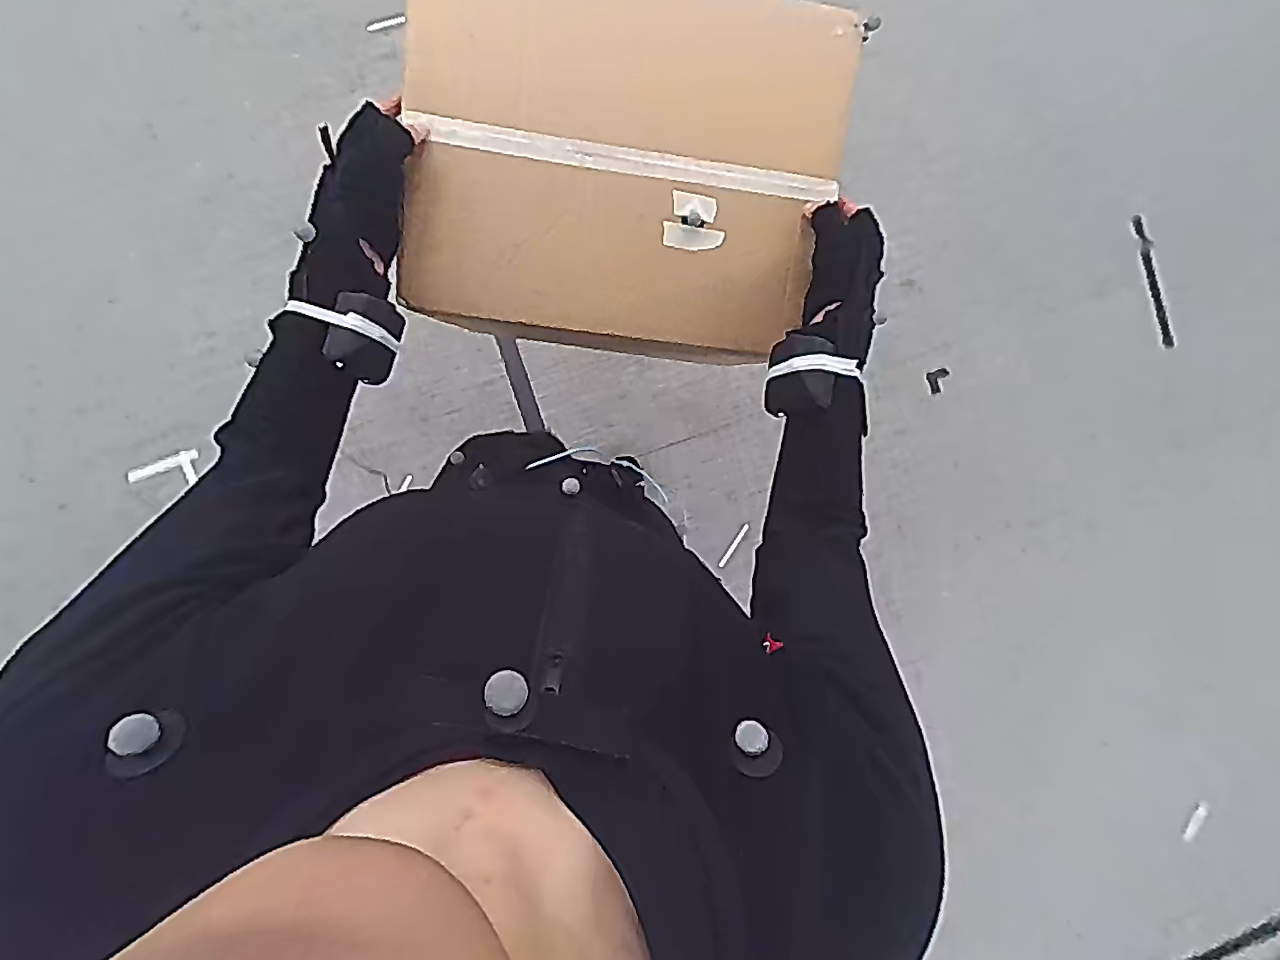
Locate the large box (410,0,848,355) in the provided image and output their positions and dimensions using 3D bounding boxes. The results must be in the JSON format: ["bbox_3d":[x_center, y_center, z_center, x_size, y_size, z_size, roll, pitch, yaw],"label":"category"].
[{"bbox_3d":[-0.028,-0.330,0.659,0.408,0.320,0.320,5,101,-7],"label":"large box"}]
